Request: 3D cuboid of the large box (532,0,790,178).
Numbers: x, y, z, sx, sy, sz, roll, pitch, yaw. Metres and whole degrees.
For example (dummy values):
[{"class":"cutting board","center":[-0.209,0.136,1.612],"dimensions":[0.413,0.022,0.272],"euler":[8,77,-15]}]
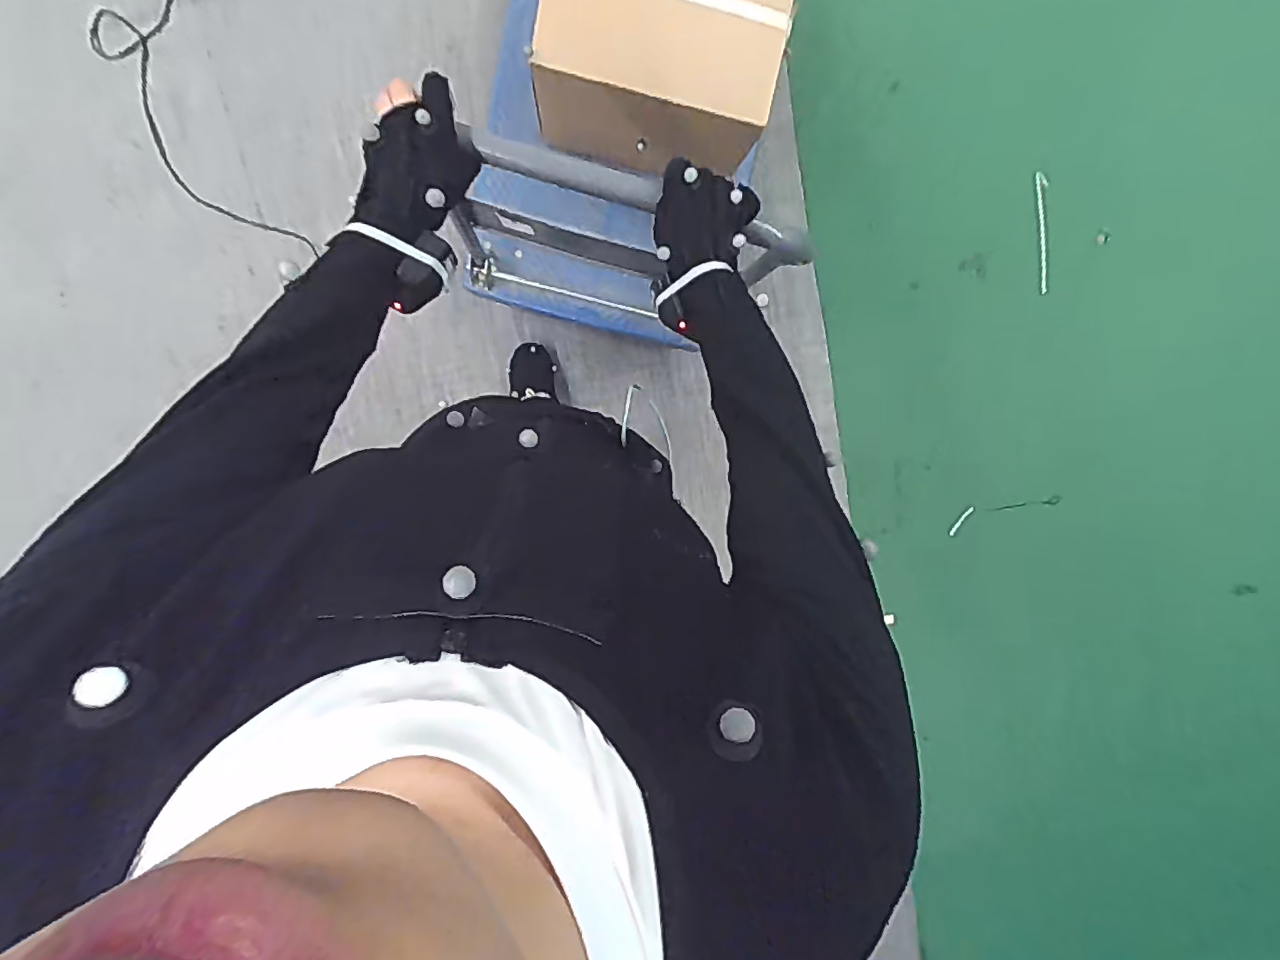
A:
[{"class":"large box","center":[0.034,-0.818,1.013],"dimensions":[0.408,0.320,0.320],"euler":[10,99,-8]}]
